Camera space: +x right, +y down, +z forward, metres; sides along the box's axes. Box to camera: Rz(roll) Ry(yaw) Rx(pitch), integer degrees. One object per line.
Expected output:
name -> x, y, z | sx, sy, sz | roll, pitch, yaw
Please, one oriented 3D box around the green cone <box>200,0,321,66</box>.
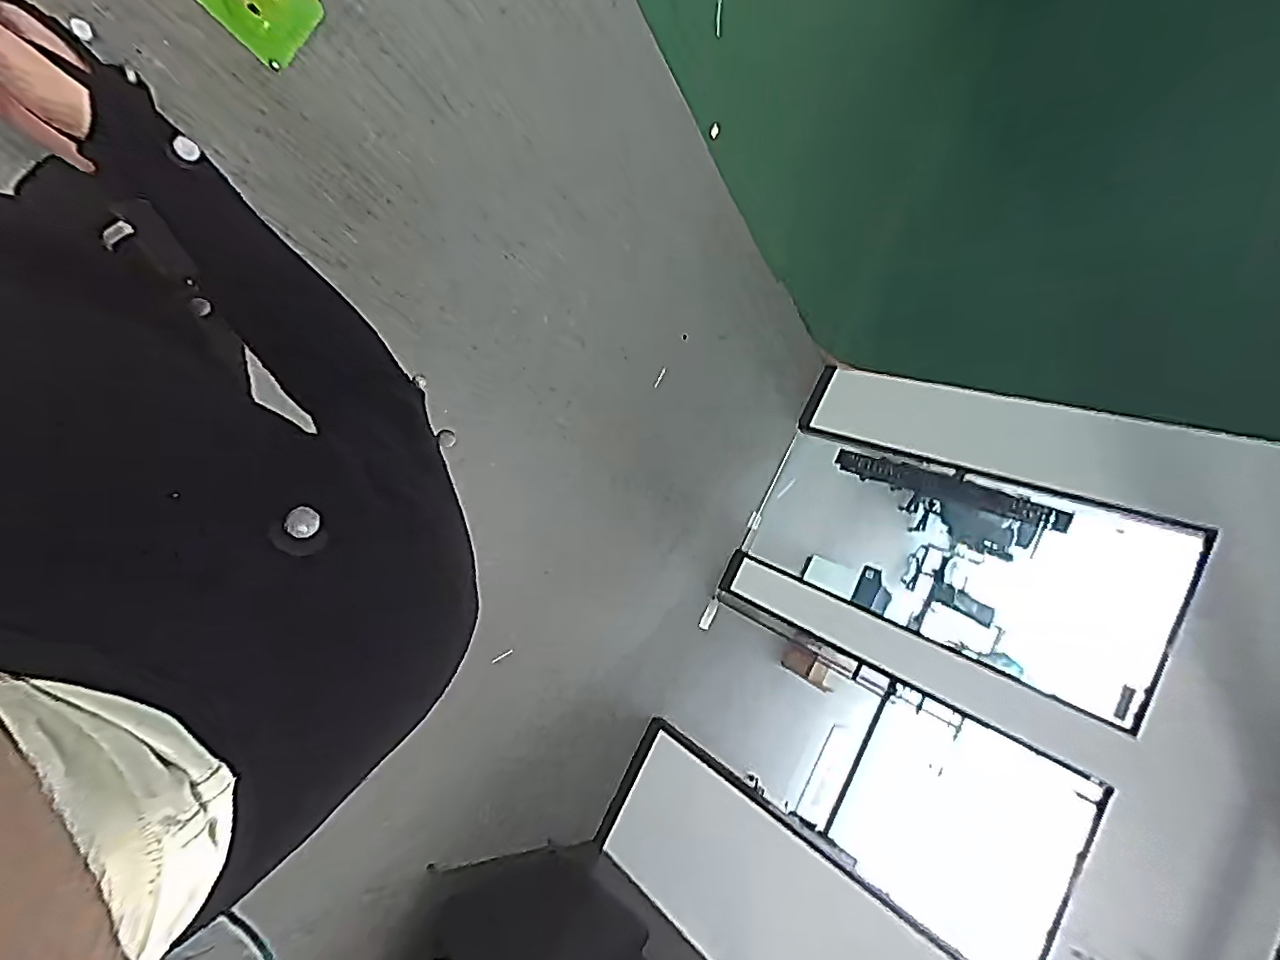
green cone -> -0.705, -0.999, 1.053 | 0.202, 0.368, 0.200 | 37, 79, -50
